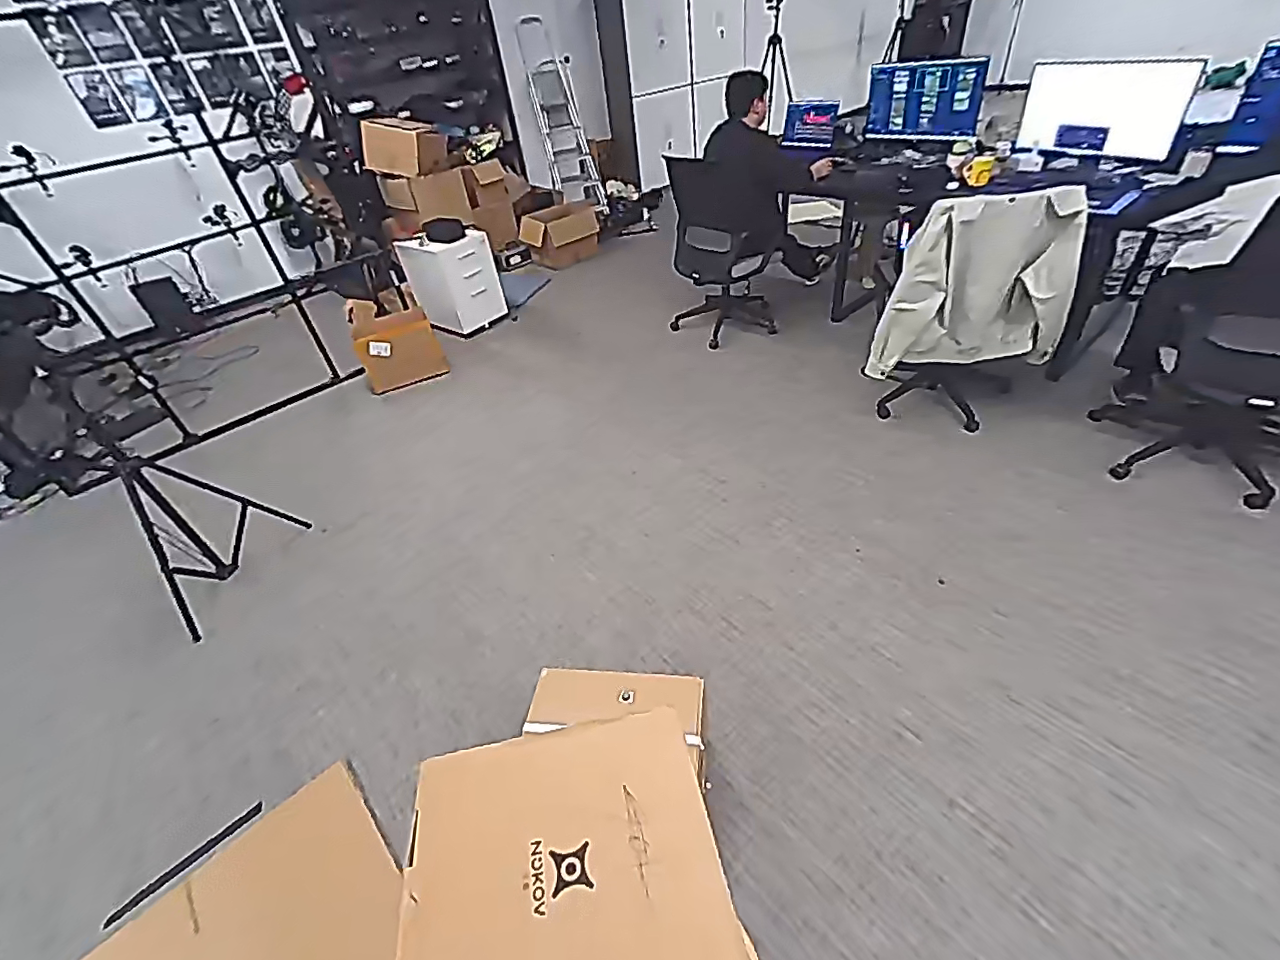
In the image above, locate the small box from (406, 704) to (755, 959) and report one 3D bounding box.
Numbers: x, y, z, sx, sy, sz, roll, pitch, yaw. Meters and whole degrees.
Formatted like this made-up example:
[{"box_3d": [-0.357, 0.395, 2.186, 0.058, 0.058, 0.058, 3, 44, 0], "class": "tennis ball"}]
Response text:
[{"box_3d": [-0.036, 0.281, 0.352, 0.179, 0.176, 0.168, -9, 39, -9], "class": "small box"}]
